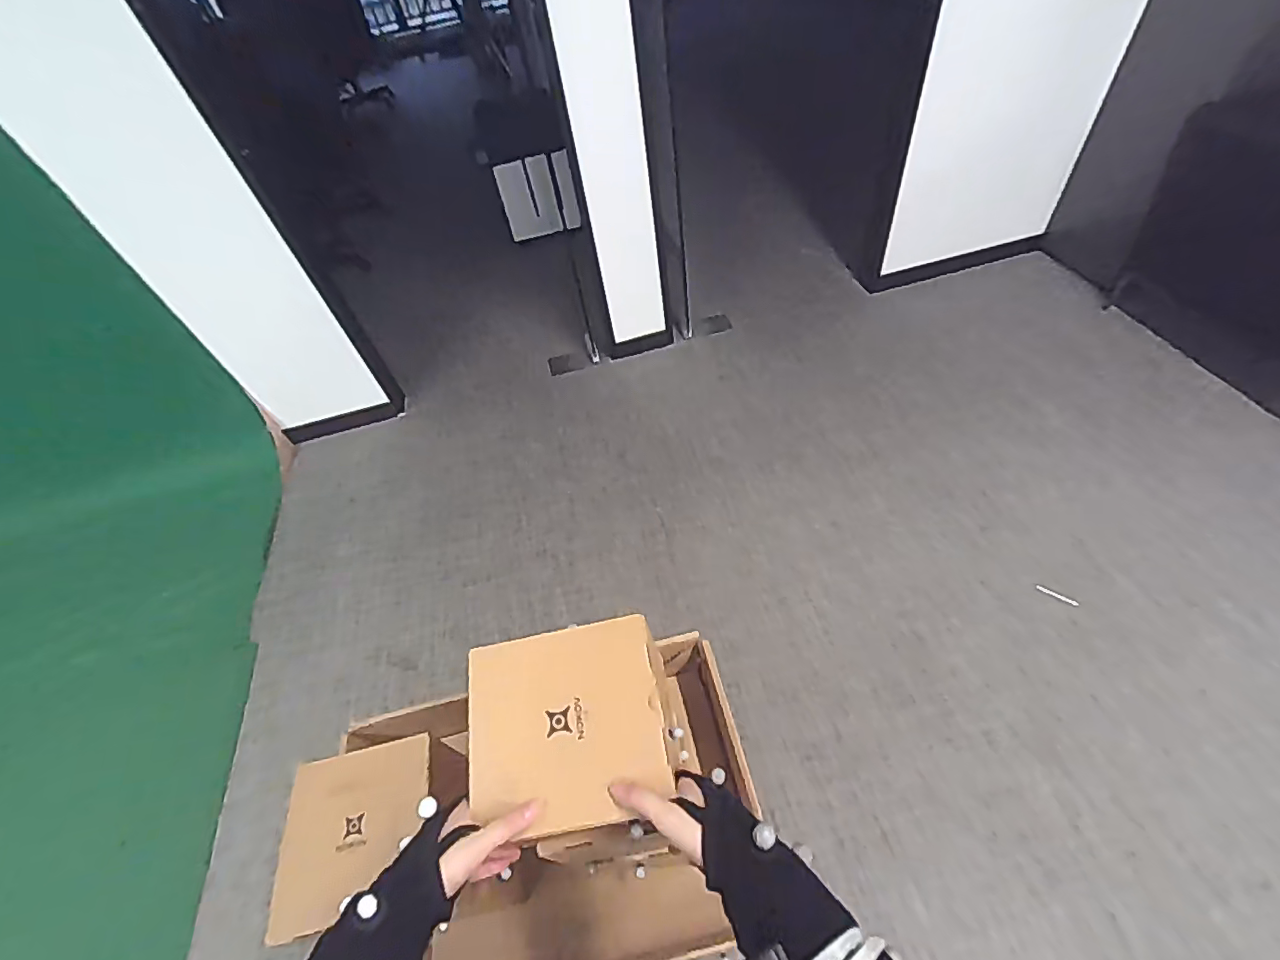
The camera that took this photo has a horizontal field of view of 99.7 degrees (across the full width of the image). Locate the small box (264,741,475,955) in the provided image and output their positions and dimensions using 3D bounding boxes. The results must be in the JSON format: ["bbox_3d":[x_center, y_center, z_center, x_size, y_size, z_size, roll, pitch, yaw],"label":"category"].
[{"bbox_3d":[-0.310,0.451,0.666,0.168,0.176,0.179,-13,49,-2],"label":"small box"}]

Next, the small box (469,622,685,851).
[{"bbox_3d":[-0.057,0.265,0.549,0.179,0.176,0.168,-11,56,-1],"label":"small box"}]

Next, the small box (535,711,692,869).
[{"bbox_3d":[-0.033,0.373,0.685,0.168,0.176,0.179,-11,49,0],"label":"small box"}]
